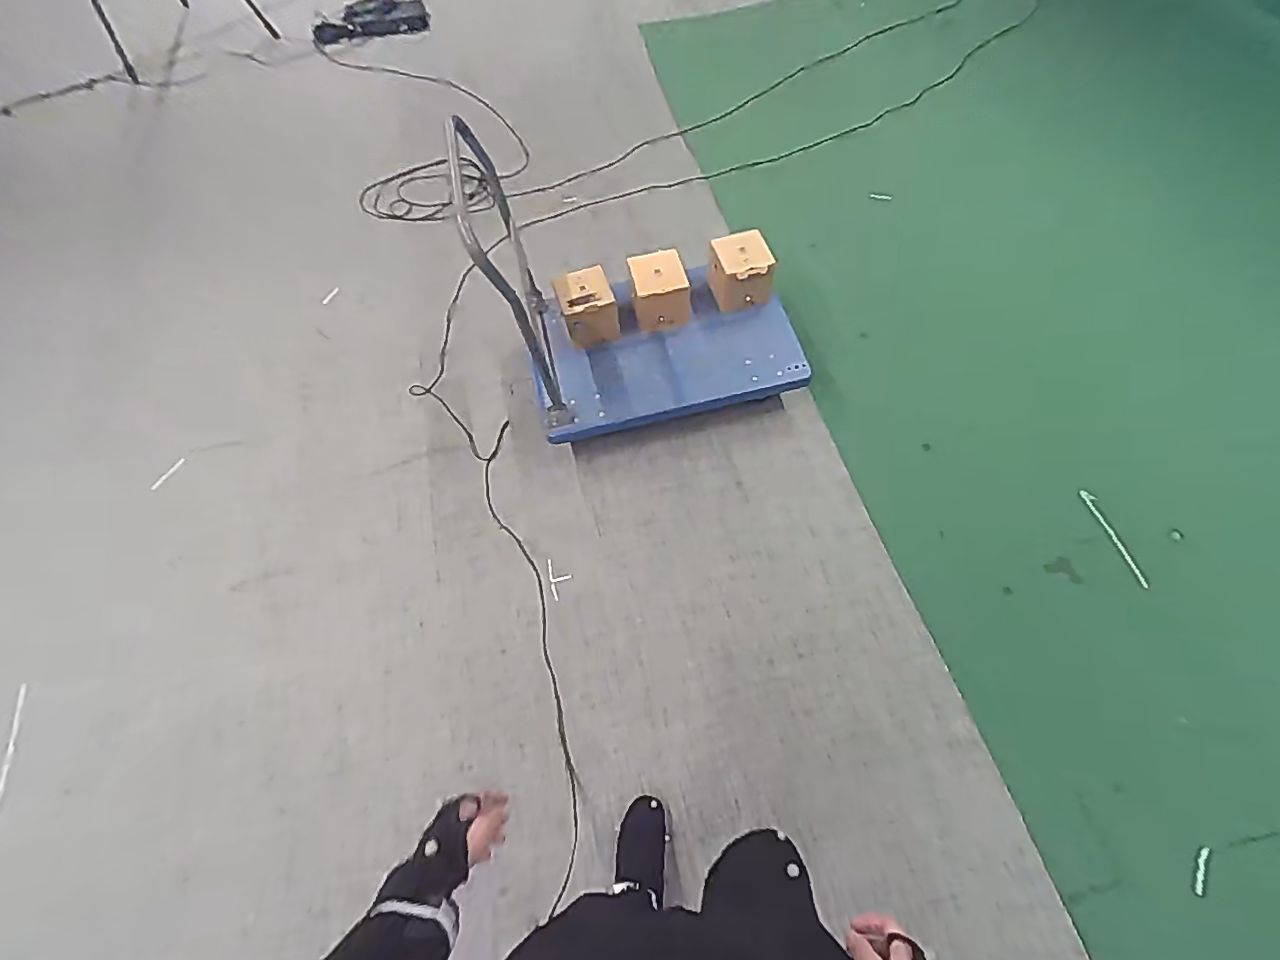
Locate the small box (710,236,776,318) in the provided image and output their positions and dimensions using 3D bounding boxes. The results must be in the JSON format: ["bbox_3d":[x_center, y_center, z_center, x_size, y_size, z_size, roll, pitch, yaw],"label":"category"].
[{"bbox_3d":[0.336,-0.675,1.807,0.168,0.176,0.179,-14,63,-3],"label":"small box"}]

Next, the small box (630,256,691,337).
[{"bbox_3d":[0.065,-0.604,1.789,0.168,0.176,0.179,-13,64,-4],"label":"small box"}]
